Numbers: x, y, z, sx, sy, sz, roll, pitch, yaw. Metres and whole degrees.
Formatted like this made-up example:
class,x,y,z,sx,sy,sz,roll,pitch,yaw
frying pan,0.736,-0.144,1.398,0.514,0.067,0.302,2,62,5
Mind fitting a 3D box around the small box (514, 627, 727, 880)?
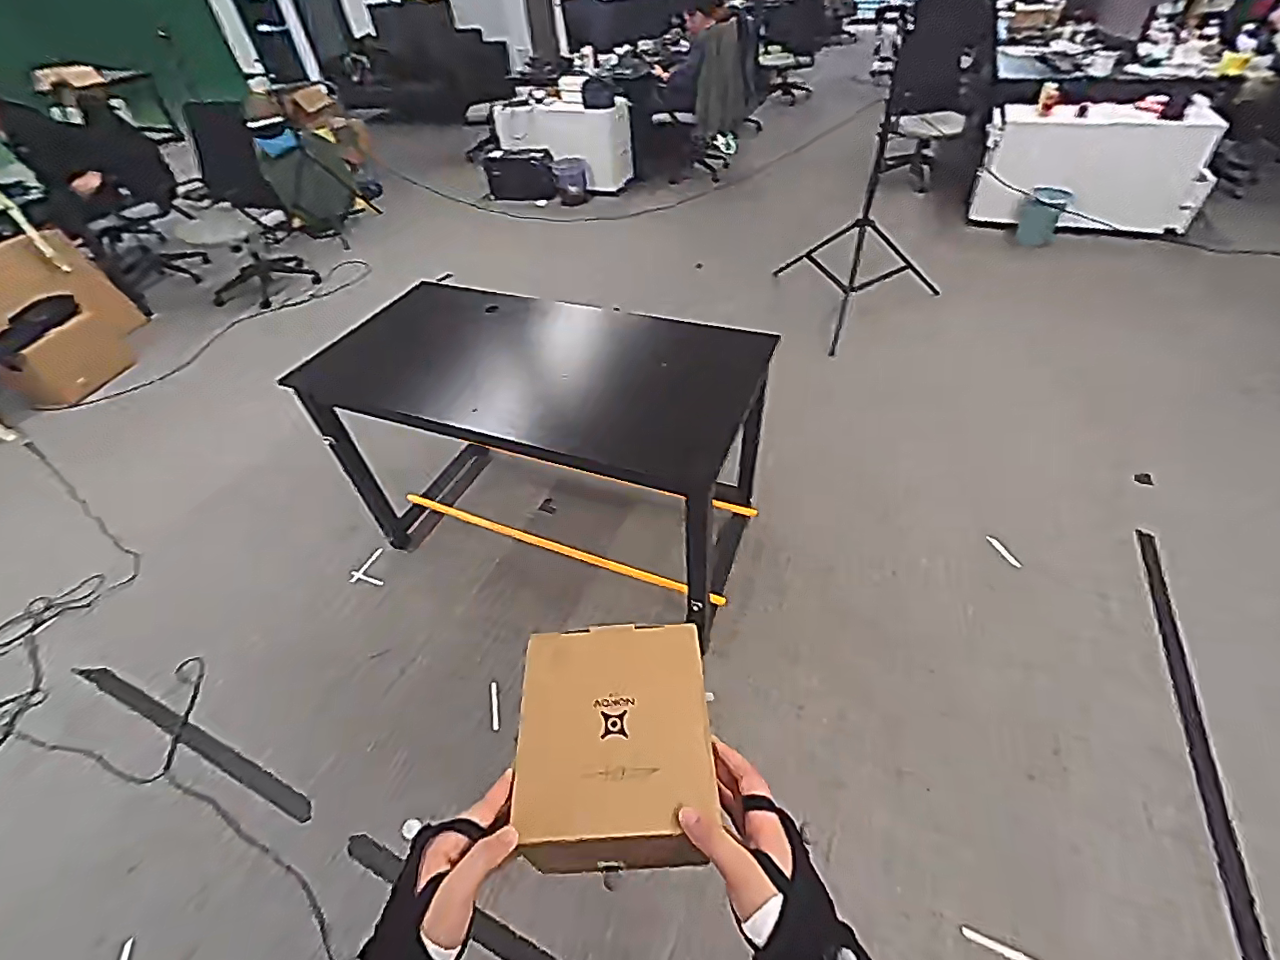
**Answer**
class,x,y,z,sx,sy,sz,roll,pitch,yaw
small box,-0.015,0.265,0.525,0.168,0.176,0.179,-4,47,0
